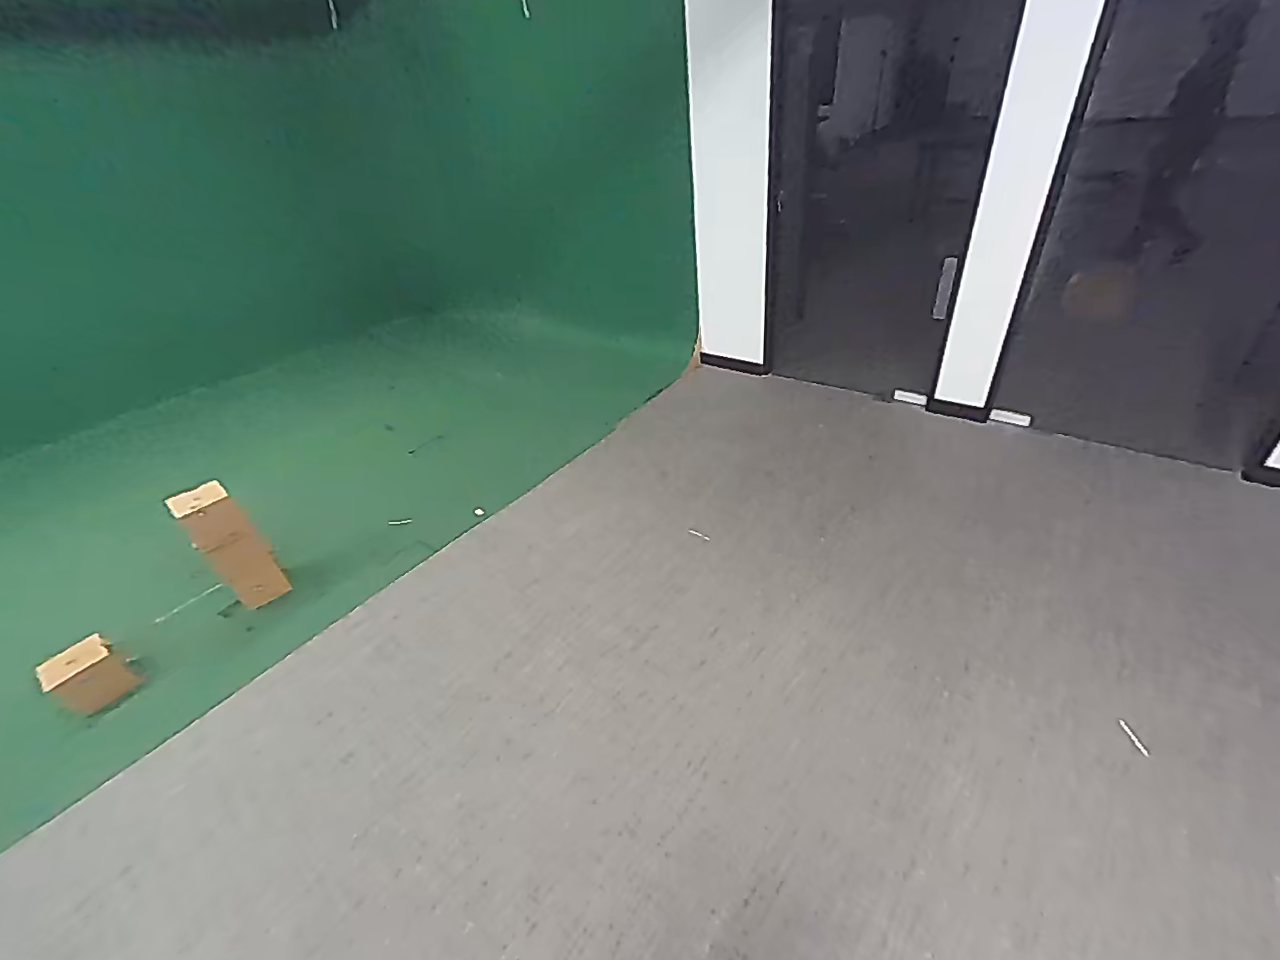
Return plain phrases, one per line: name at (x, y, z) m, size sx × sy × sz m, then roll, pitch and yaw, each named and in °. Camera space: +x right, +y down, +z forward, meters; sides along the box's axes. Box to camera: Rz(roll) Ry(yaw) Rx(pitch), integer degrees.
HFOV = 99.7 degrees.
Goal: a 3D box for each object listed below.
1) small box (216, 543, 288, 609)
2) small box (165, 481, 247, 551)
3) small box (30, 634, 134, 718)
small box at (-1.563, 0.393, 2.185) m, size 0.168 × 0.176 × 0.179 m, roll -32°, pitch 42°, yaw -31°
small box at (-1.590, 0.134, 1.984) m, size 0.179 × 0.176 × 0.168 m, roll 24°, pitch 44°, yaw 37°
small box at (-1.901, 0.672, 1.846) m, size 0.168 × 0.176 × 0.179 m, roll 22°, pitch 44°, yaw 32°
